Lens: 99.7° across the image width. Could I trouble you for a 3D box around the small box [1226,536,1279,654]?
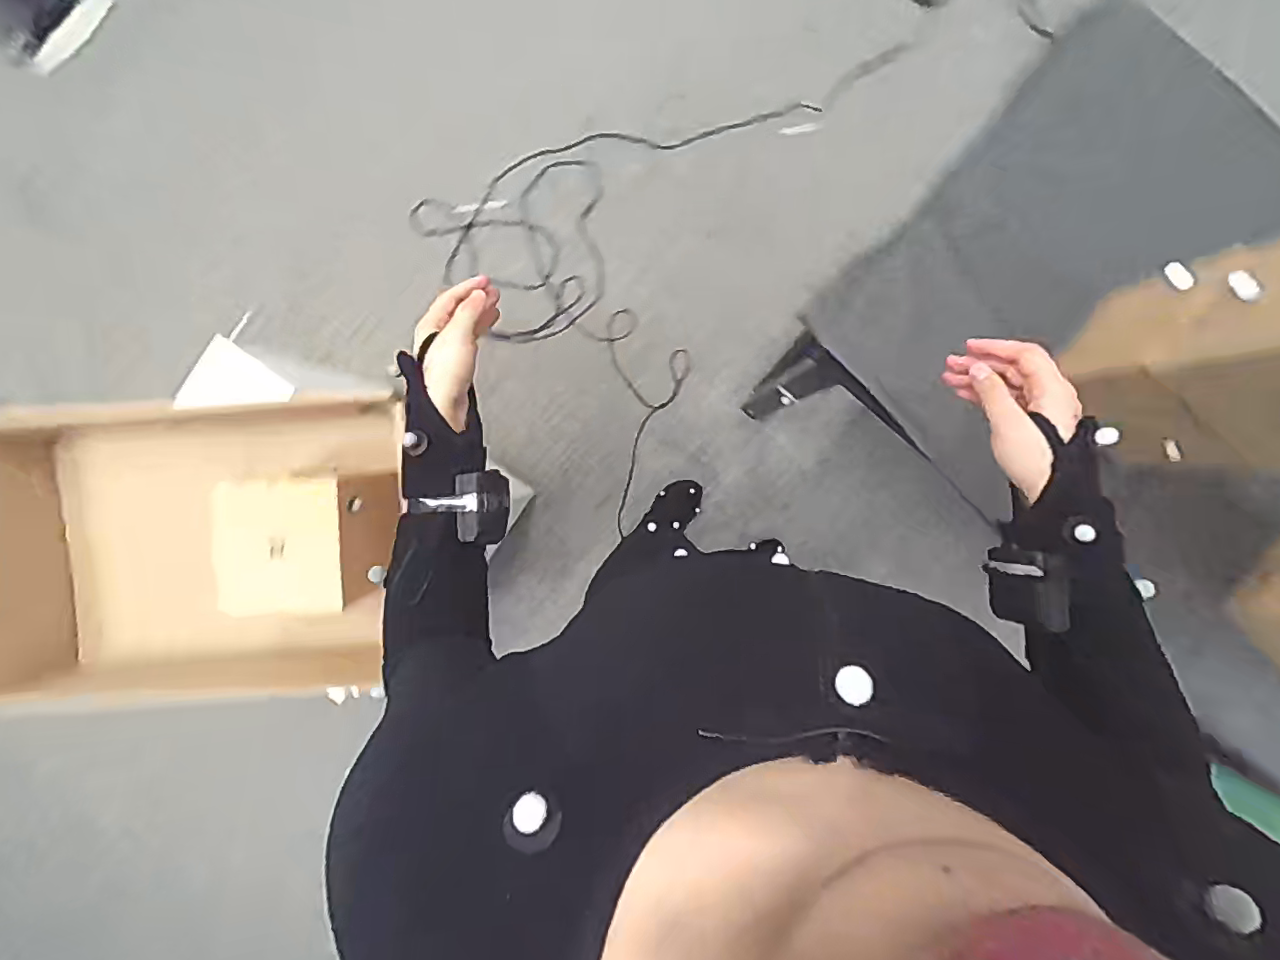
[{"bbox_3d":[0.918,0.163,0.666,0.179,0.176,0.168,44,90,0],"label":"small box"}]
